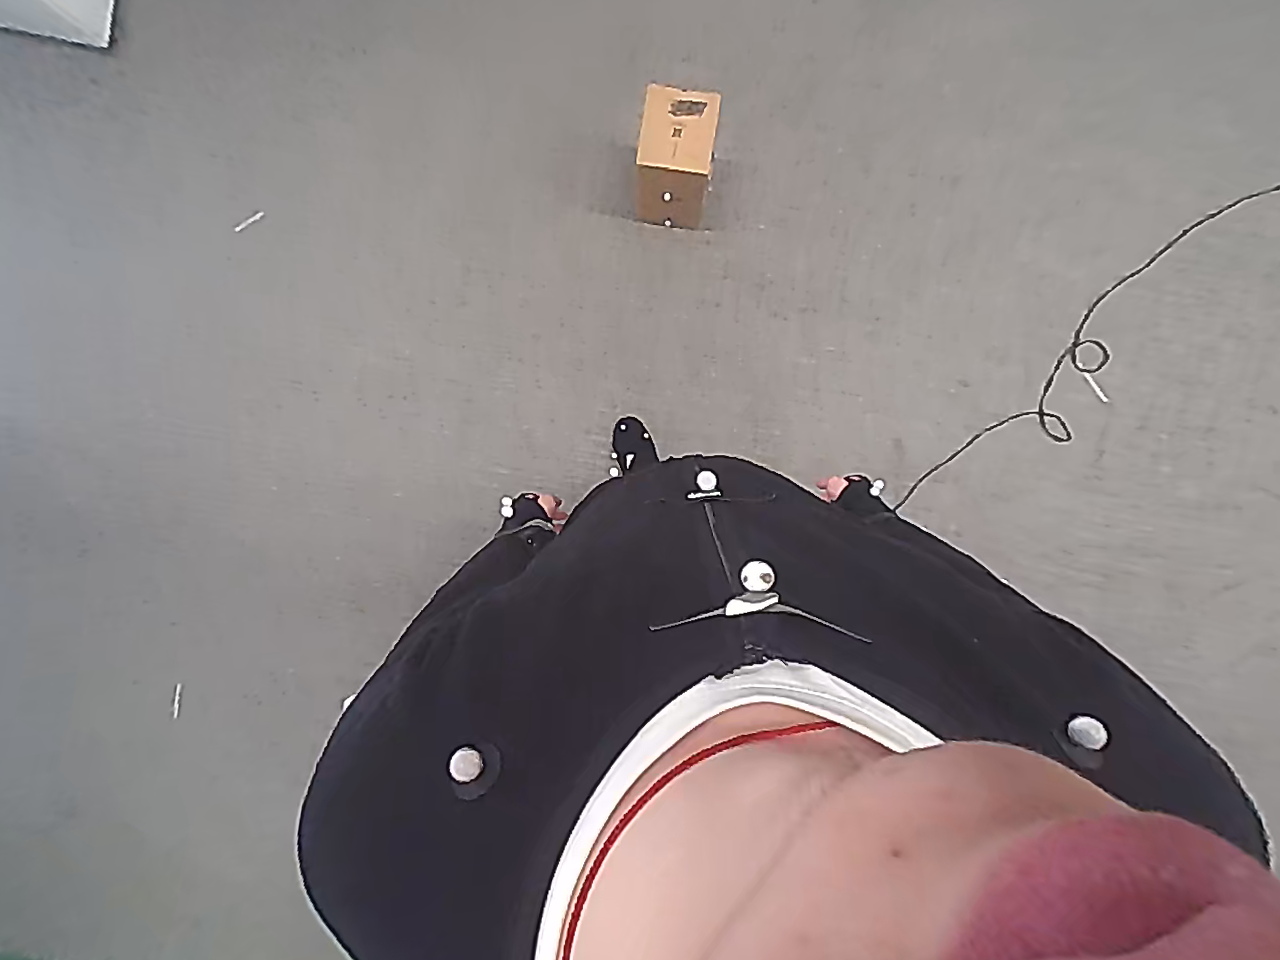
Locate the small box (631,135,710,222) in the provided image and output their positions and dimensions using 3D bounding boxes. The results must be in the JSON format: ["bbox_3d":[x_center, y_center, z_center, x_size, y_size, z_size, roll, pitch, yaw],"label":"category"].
[{"bbox_3d":[0.076,-0.806,1.428,0.179,0.176,0.168,10,93,0],"label":"small box"}]

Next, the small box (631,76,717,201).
[{"bbox_3d":[0.074,-0.789,1.264,0.168,0.176,0.179,9,94,0],"label":"small box"}]
